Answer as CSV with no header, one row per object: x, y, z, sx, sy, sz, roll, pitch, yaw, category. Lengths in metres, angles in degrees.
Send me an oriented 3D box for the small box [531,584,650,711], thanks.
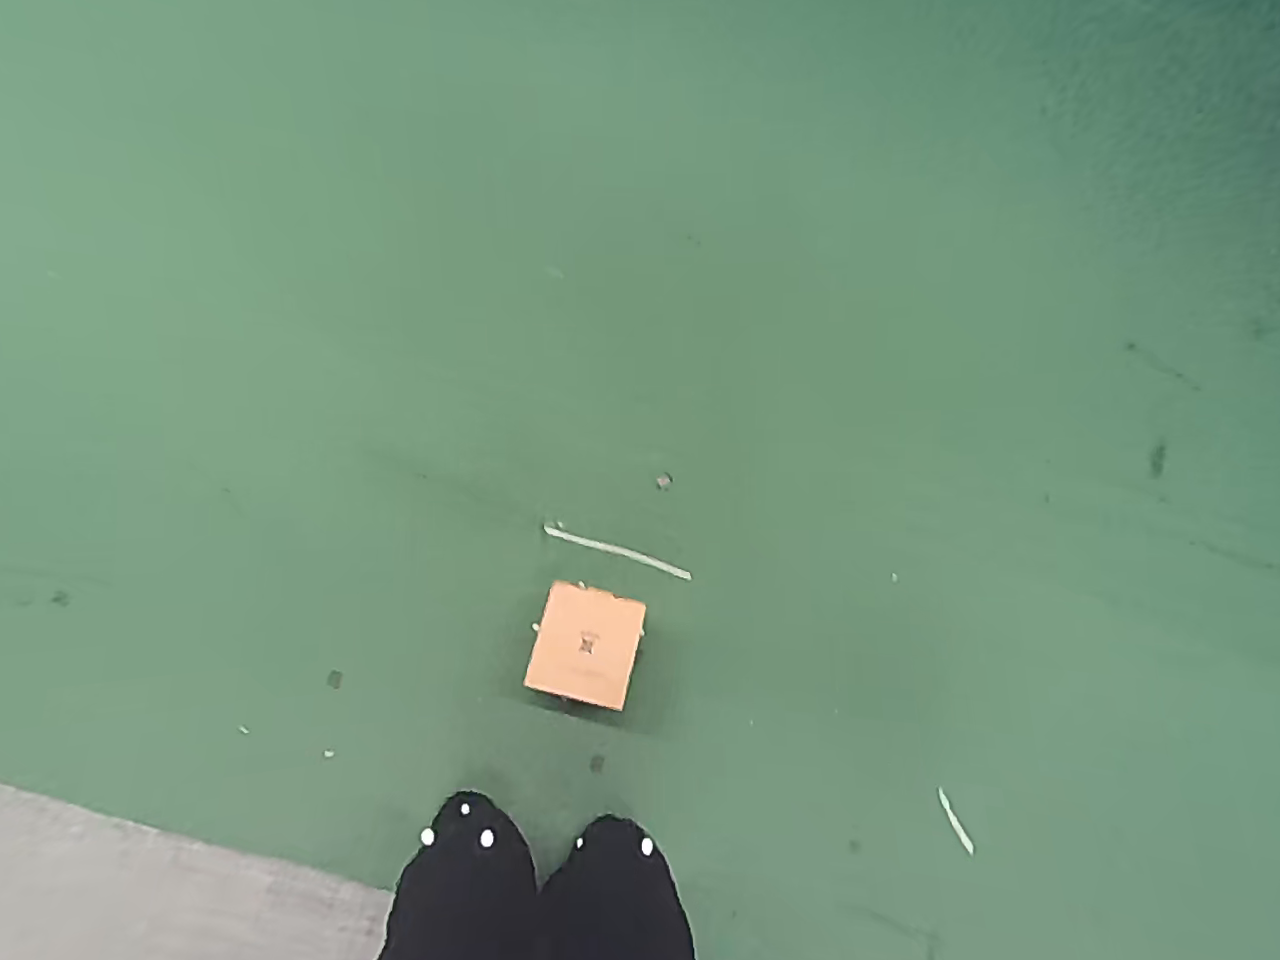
-0.090,0.301,0.982,0.168,0.176,0.179,15,72,-1,small box
